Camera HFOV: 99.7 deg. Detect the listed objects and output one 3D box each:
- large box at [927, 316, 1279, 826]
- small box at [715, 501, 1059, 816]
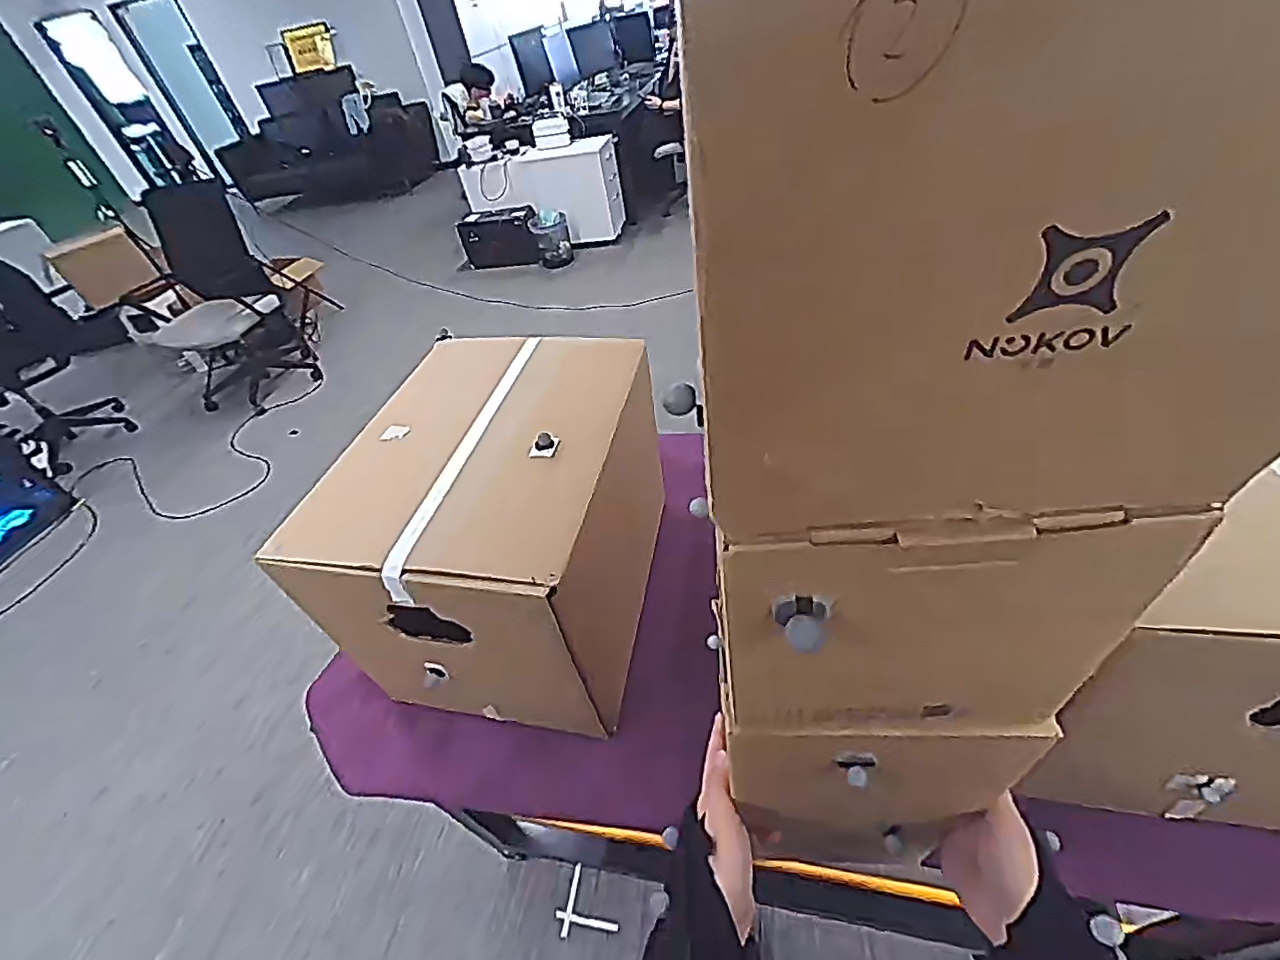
[{"bbox_3d":[0.519,0.074,0.552,0.320,0.320,0.408,1,43,14],"label":"large box"},{"bbox_3d":[0.151,0.134,0.403,0.179,0.176,0.168,-3,44,8],"label":"small box"}]
